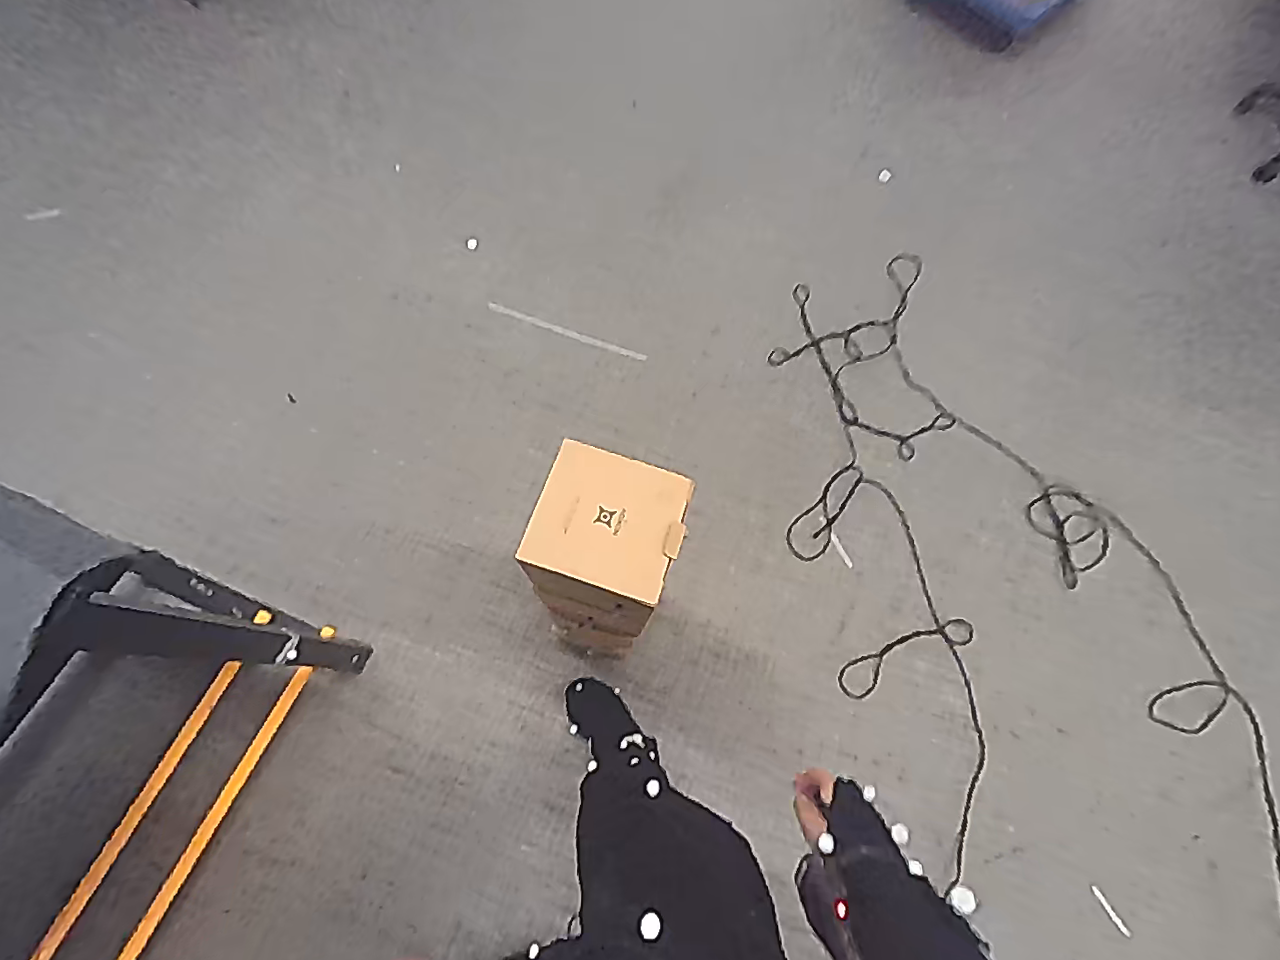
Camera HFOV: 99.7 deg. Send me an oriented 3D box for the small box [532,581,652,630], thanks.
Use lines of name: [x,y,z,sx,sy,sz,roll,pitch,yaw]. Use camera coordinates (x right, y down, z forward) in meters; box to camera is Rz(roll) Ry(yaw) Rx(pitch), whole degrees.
small box: [-0.054,0.134,0.868,0.179,0.176,0.168,18,68,3]

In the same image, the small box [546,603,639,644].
small box: [-0.063,0.198,1.020,0.168,0.176,0.179,17,68,3]

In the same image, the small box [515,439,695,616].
small box: [-0.042,0.074,0.718,0.179,0.176,0.168,17,68,4]

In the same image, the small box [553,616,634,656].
small box: [-0.076,0.267,1.167,0.168,0.176,0.179,16,69,4]
